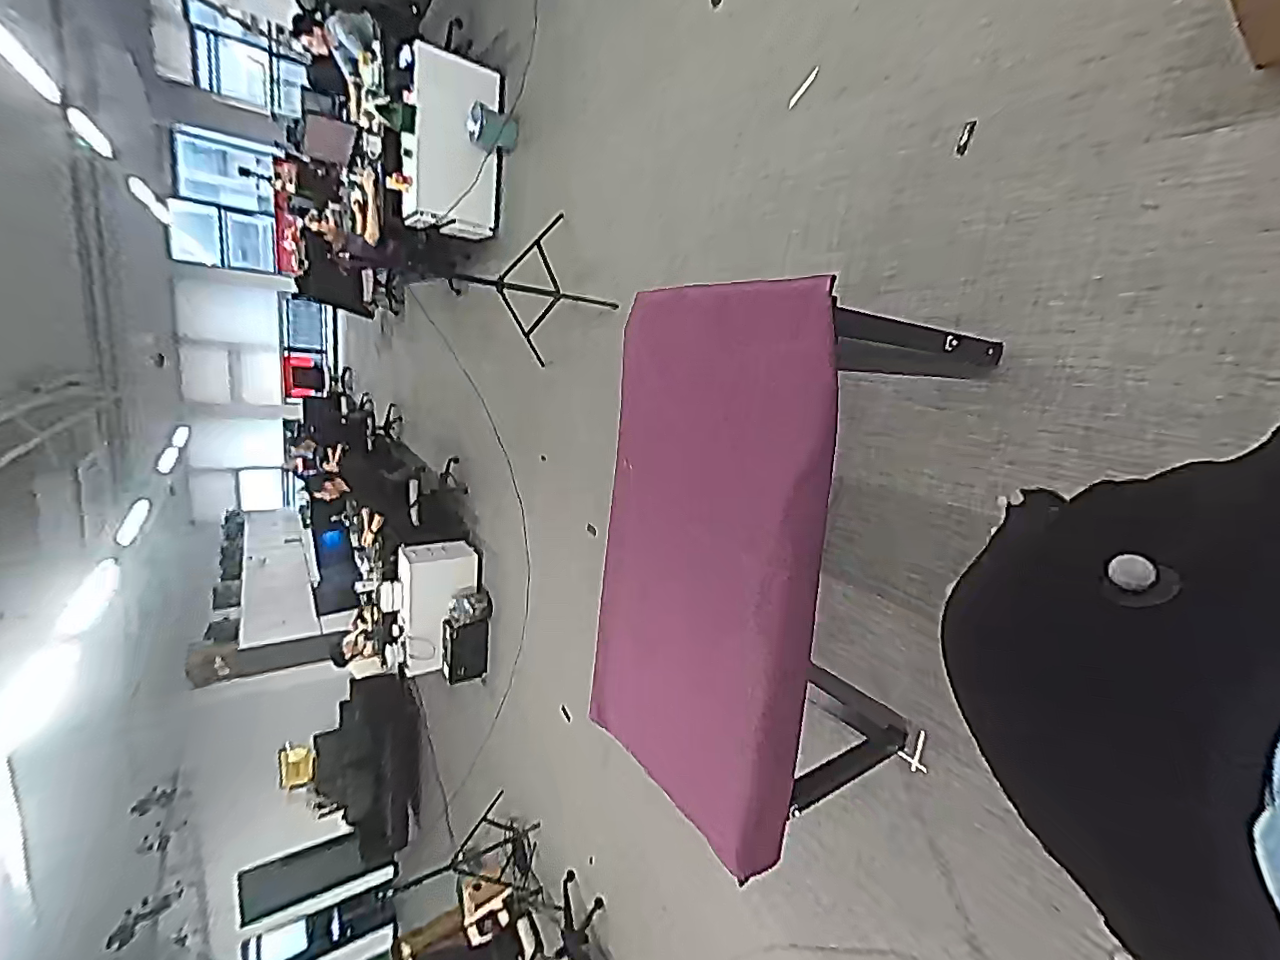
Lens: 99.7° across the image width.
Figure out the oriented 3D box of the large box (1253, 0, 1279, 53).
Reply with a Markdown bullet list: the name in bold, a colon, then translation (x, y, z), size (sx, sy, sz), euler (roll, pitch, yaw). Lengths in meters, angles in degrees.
- **large box**: translation (1.119, -0.926, 0.740), size (0.320, 0.320, 0.408), euler (18, 108, 54)
